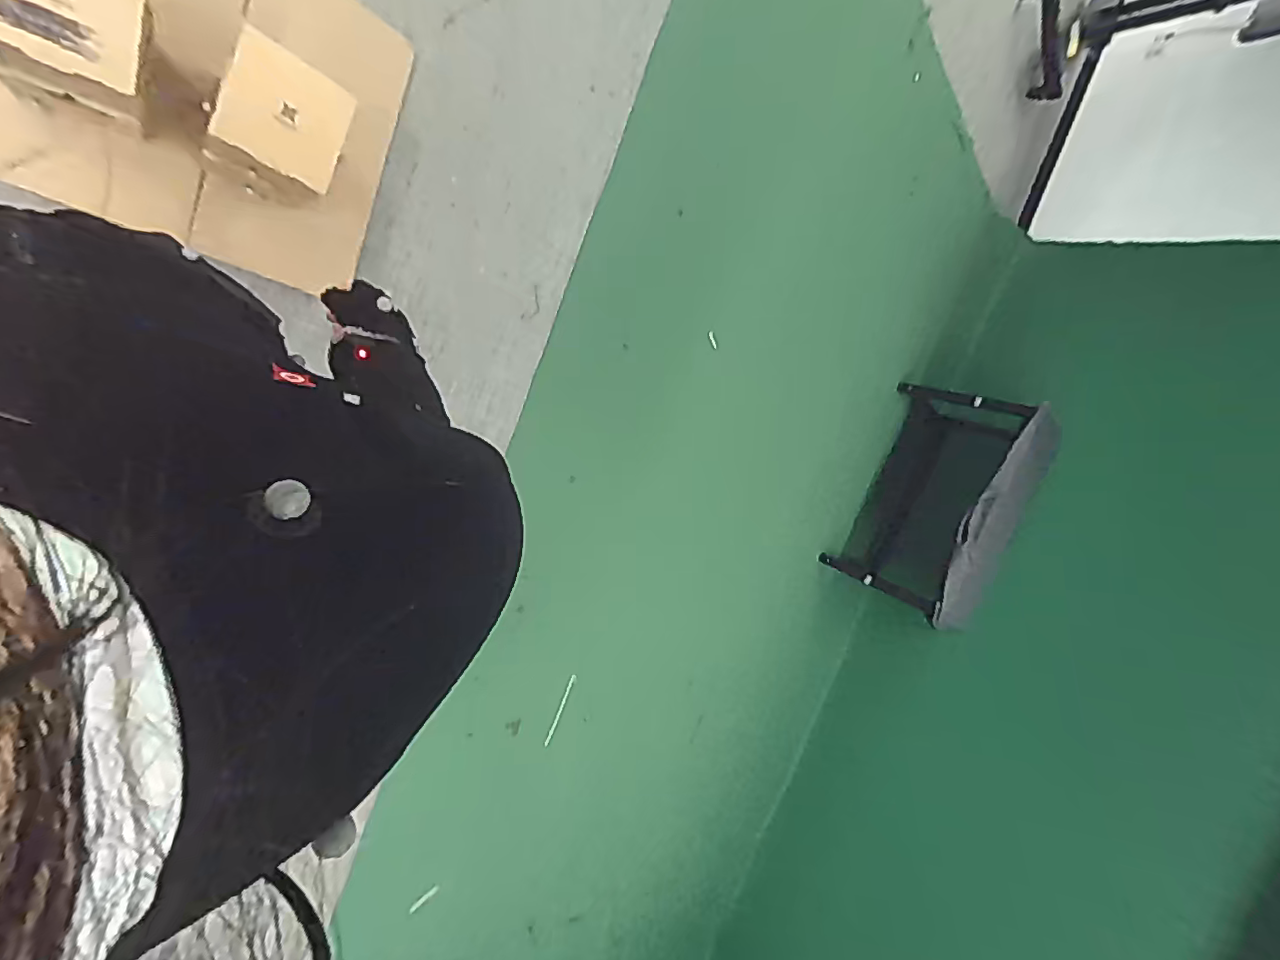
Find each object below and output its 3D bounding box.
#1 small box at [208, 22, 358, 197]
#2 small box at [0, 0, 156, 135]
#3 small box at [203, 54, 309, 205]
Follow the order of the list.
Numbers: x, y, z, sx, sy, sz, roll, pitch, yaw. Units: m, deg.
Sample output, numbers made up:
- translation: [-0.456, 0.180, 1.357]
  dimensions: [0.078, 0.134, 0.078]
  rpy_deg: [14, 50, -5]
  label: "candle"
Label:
- translation: [-0.617, -0.618, 0.929]
  dimensions: [0.168, 0.176, 0.179]
  rpy_deg: [18, 96, -44]
  label: "small box"
- translation: [-0.900, -0.693, 0.870]
  dimensions: [0.168, 0.176, 0.179]
  rpy_deg: [8, 102, -43]
  label: "small box"
- translation: [-0.723, -0.661, 1.044]
  dimensions: [0.168, 0.176, 0.179]
  rpy_deg: [15, 98, -42]
  label: "small box"
